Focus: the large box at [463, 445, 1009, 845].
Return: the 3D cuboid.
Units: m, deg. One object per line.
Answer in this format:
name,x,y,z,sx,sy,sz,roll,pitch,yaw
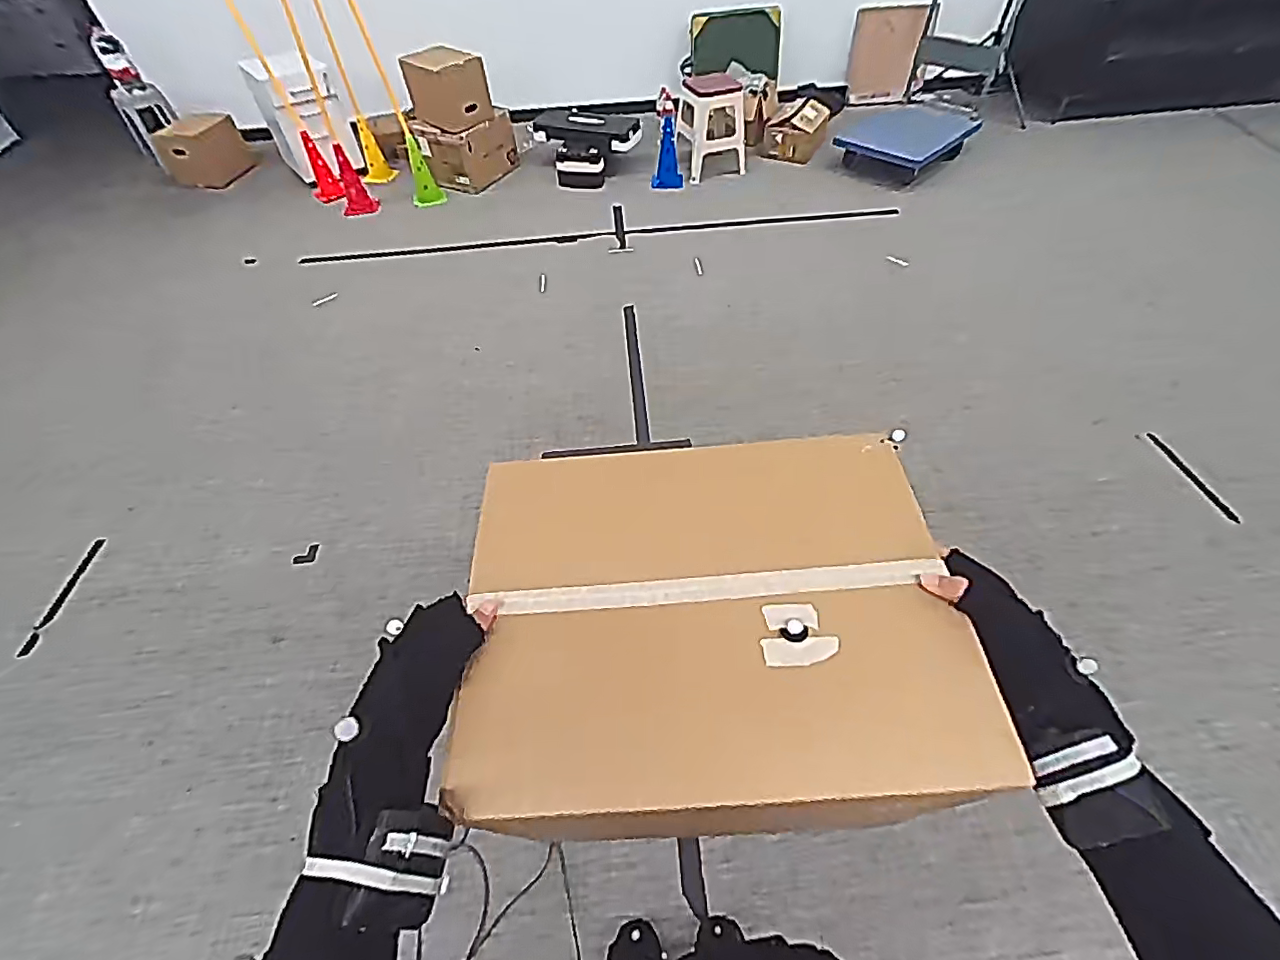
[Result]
large box,0.068,0.192,0.593,0.408,0.320,0.320,-5,54,2
